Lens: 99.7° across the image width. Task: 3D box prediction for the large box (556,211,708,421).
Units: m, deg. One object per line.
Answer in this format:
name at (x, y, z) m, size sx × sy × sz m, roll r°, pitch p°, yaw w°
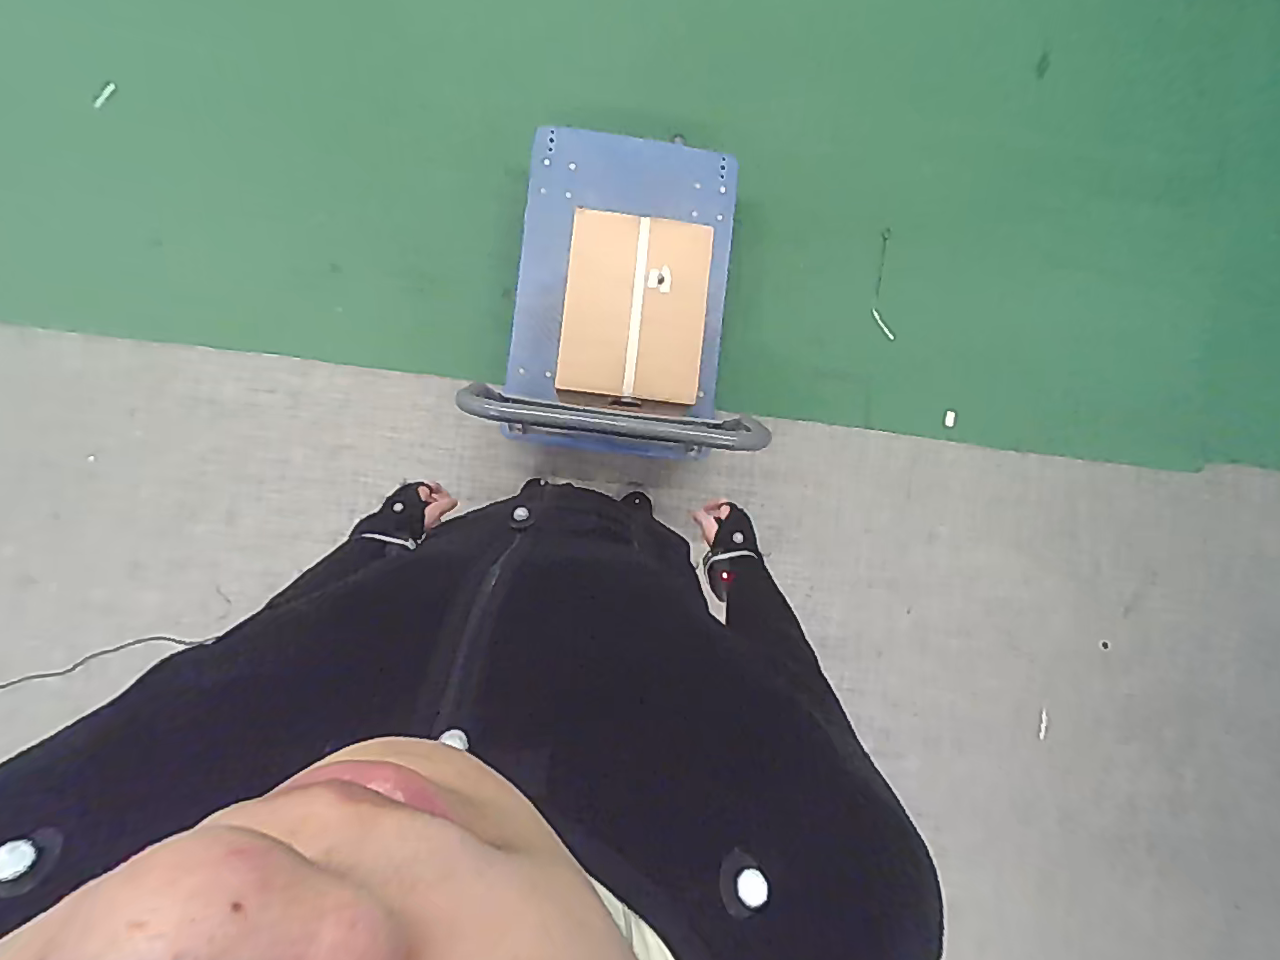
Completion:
large box at (-0.027, -0.375, 1.337) m, size 0.320 × 0.320 × 0.408 m, roll 6°, pitch 87°, yaw -6°
